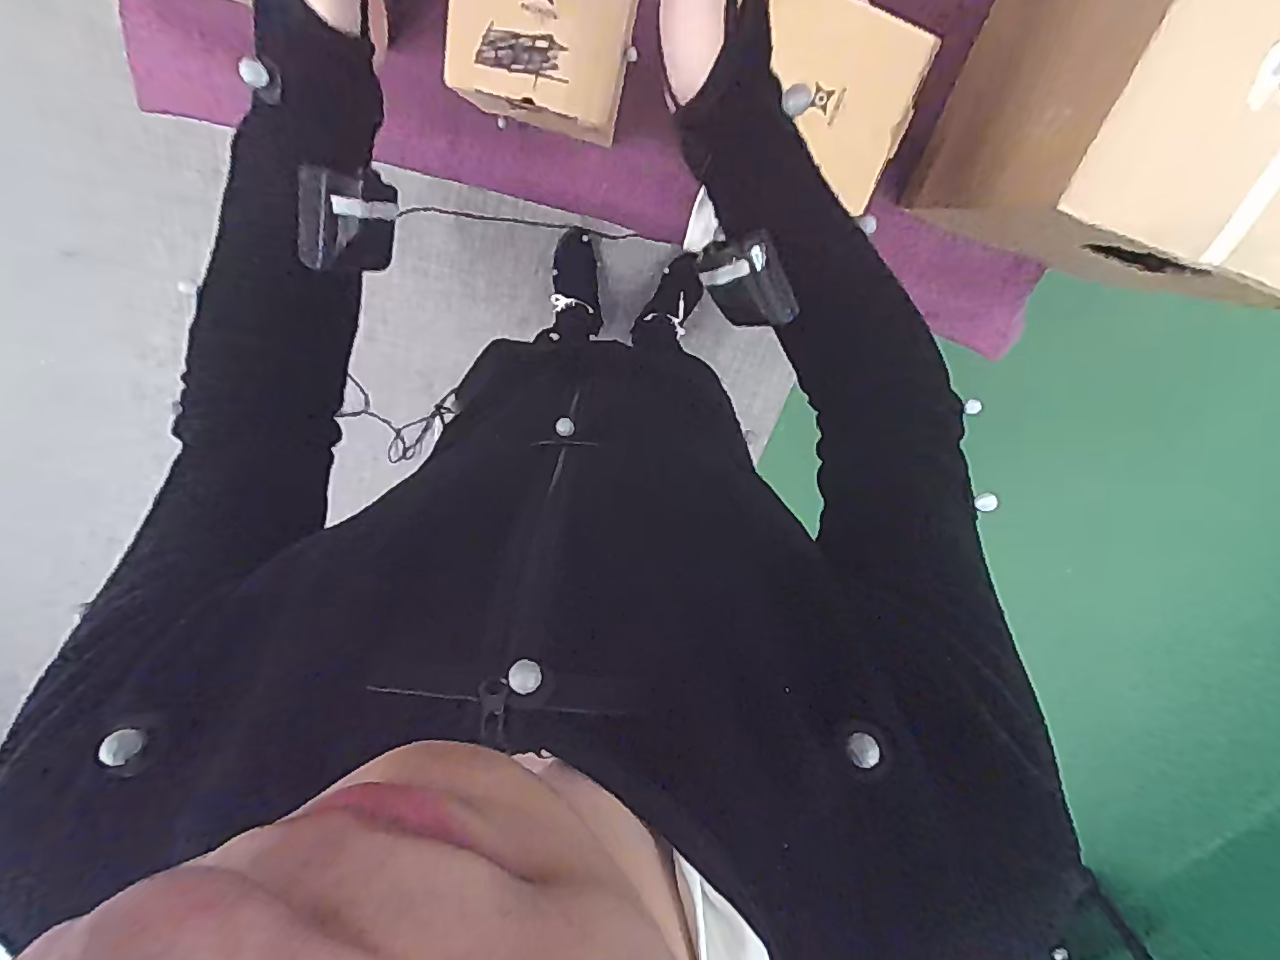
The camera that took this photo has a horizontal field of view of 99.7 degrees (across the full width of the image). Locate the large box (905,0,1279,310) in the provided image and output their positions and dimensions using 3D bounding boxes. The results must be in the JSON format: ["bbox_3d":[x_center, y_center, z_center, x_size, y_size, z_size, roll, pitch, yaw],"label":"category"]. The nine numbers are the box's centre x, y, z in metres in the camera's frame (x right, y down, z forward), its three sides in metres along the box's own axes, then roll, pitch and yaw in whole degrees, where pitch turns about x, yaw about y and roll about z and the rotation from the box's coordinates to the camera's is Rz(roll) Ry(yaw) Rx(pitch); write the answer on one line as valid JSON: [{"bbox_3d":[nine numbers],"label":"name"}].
[{"bbox_3d":[0.556,-0.431,0.539,0.320,0.320,0.408,15,116,-8],"label":"large box"}]

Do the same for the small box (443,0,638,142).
[{"bbox_3d":[-0.094,-0.480,0.570,0.168,0.176,0.179,11,115,-8],"label":"small box"}]
